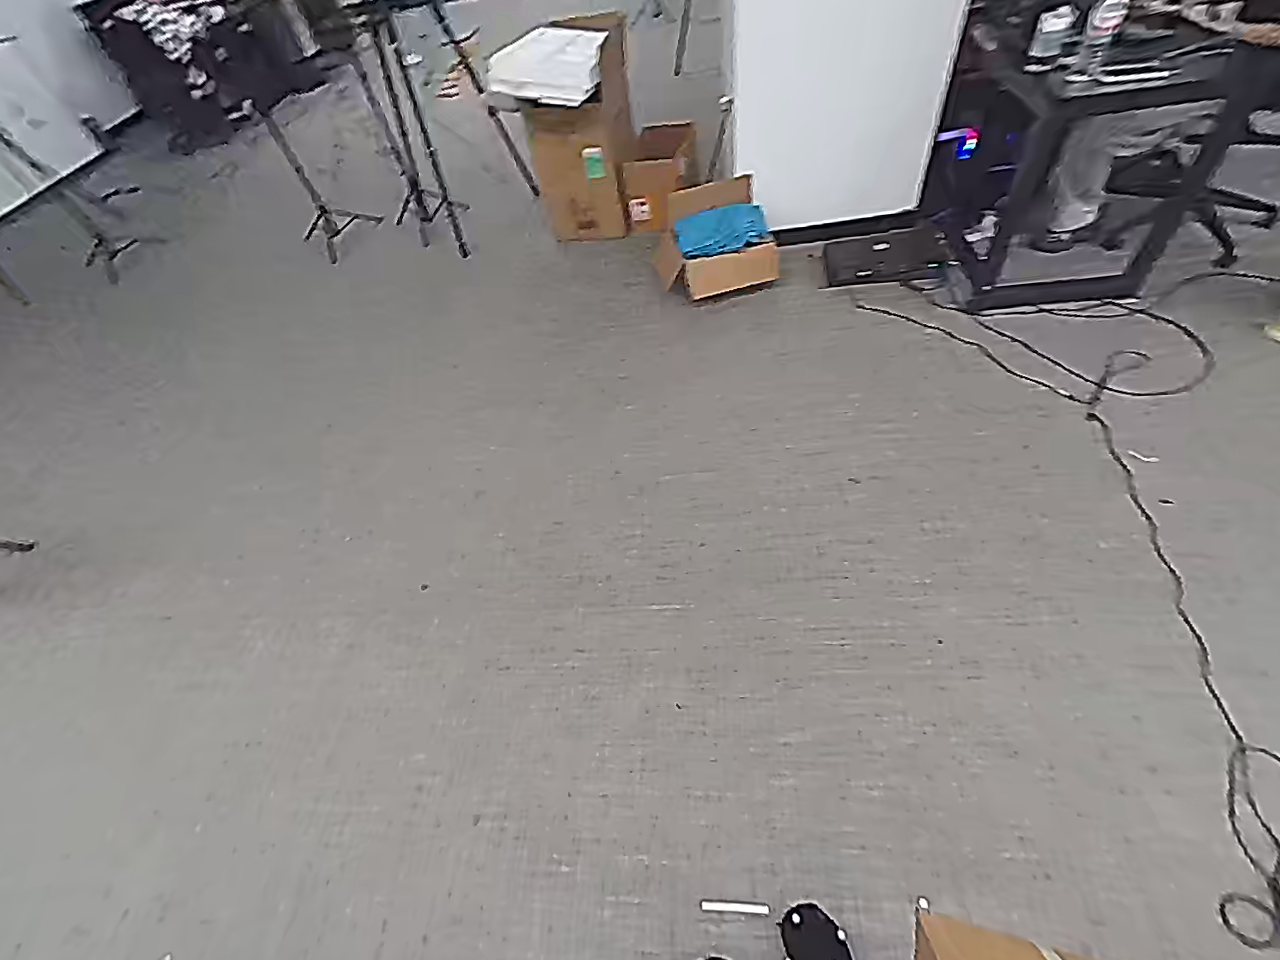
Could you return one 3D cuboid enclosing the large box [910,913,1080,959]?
[{"bbox_3d":[0.472,0.744,0.538,0.320,0.408,0.320,8,75,17],"label":"large box"}]
